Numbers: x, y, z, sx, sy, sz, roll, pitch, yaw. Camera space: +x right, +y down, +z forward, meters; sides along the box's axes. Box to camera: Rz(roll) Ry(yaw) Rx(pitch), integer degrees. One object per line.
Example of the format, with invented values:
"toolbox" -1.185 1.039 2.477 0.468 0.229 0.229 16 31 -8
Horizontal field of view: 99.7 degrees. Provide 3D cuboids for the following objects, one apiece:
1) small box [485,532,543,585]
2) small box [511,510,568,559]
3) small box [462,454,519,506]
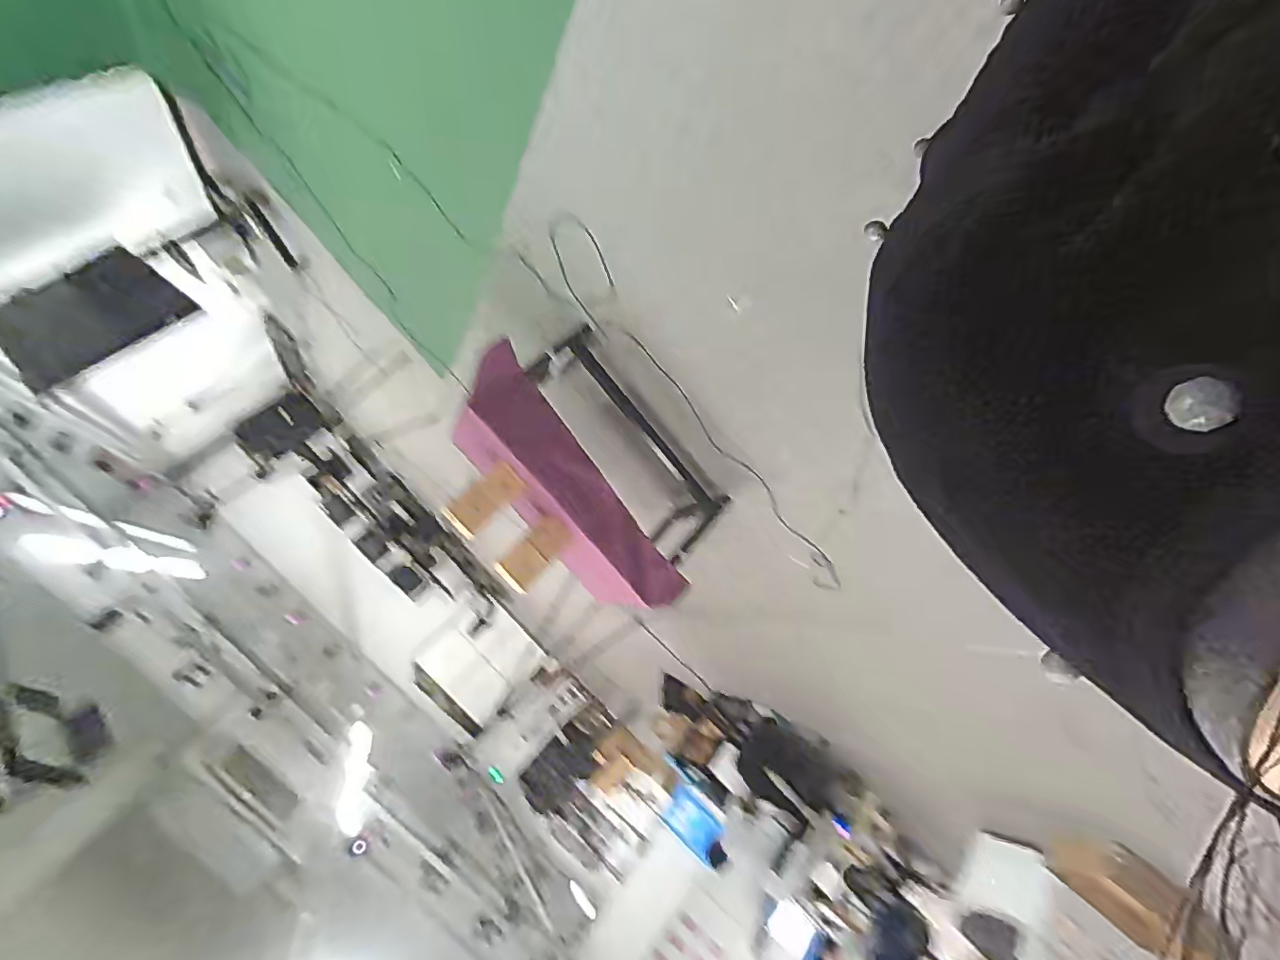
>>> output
"small box" -0.575 0.360 2.475 0.179 0.176 0.168 50 153 -11
"small box" -0.474 0.252 2.549 0.179 0.176 0.168 50 154 -11
"small box" -0.683 -0.001 2.483 0.168 0.176 0.179 51 154 -12
